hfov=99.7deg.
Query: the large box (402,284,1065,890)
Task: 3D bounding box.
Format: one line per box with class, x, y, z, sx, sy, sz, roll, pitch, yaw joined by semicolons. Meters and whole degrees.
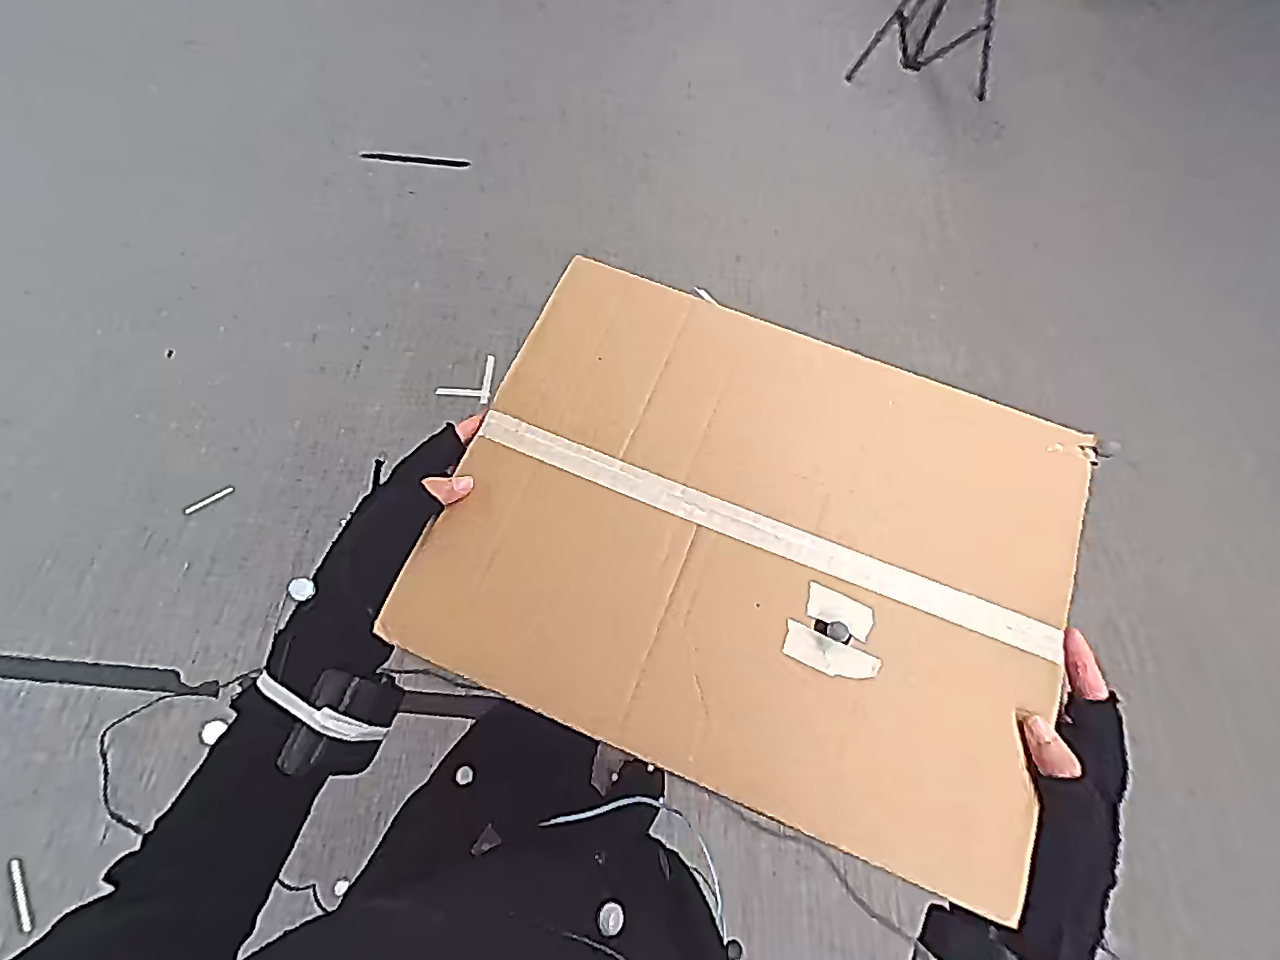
large box;0.076;0.085;0.520;0.408;0.320;0.320;22;74;6
